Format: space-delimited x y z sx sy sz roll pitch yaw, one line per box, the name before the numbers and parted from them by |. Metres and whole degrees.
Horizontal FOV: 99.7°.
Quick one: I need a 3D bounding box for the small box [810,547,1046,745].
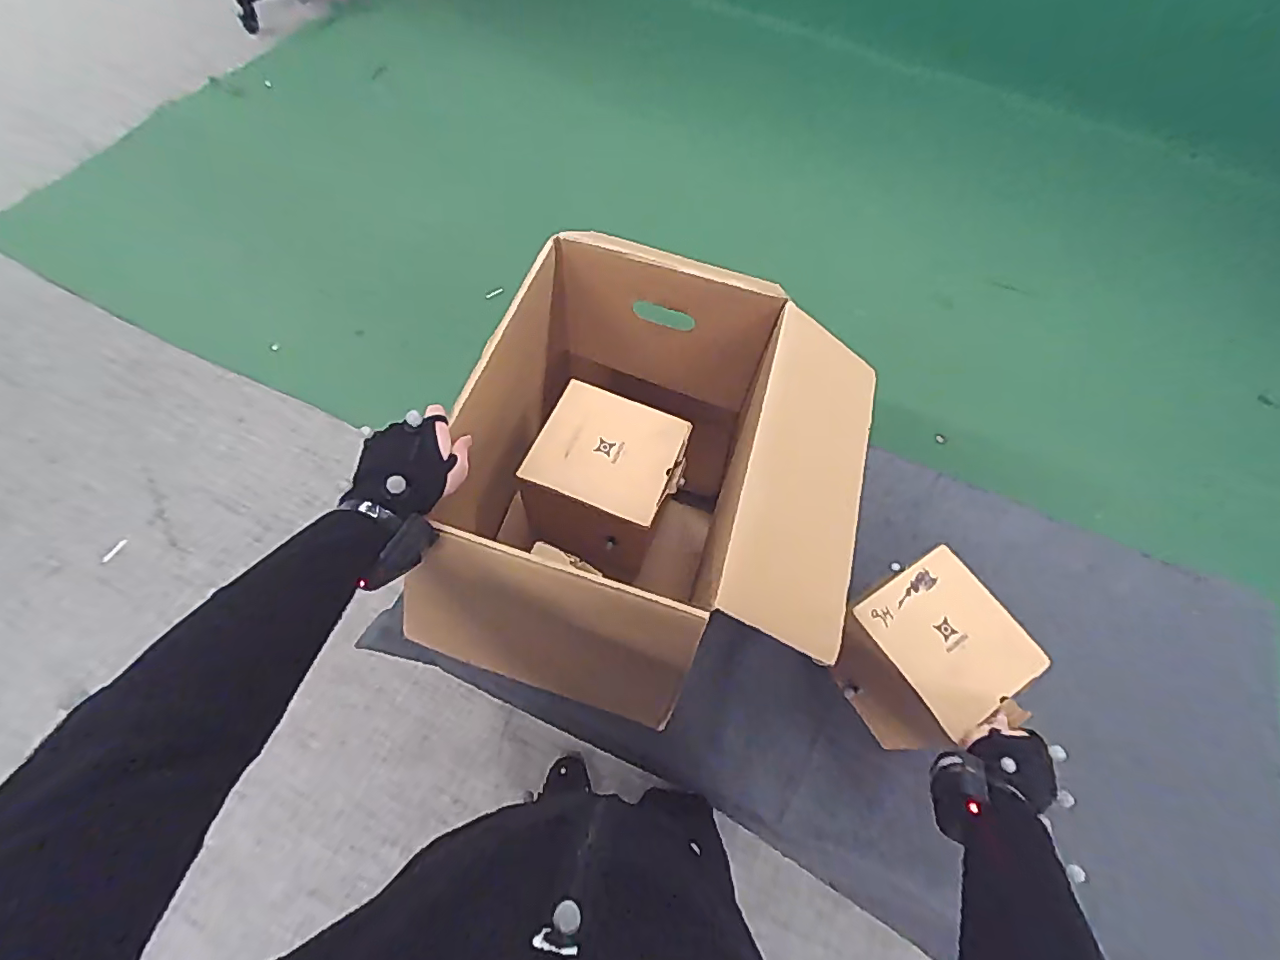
small box | 0.359 0.219 0.710 0.168 0.176 0.179 -27 69 -15
